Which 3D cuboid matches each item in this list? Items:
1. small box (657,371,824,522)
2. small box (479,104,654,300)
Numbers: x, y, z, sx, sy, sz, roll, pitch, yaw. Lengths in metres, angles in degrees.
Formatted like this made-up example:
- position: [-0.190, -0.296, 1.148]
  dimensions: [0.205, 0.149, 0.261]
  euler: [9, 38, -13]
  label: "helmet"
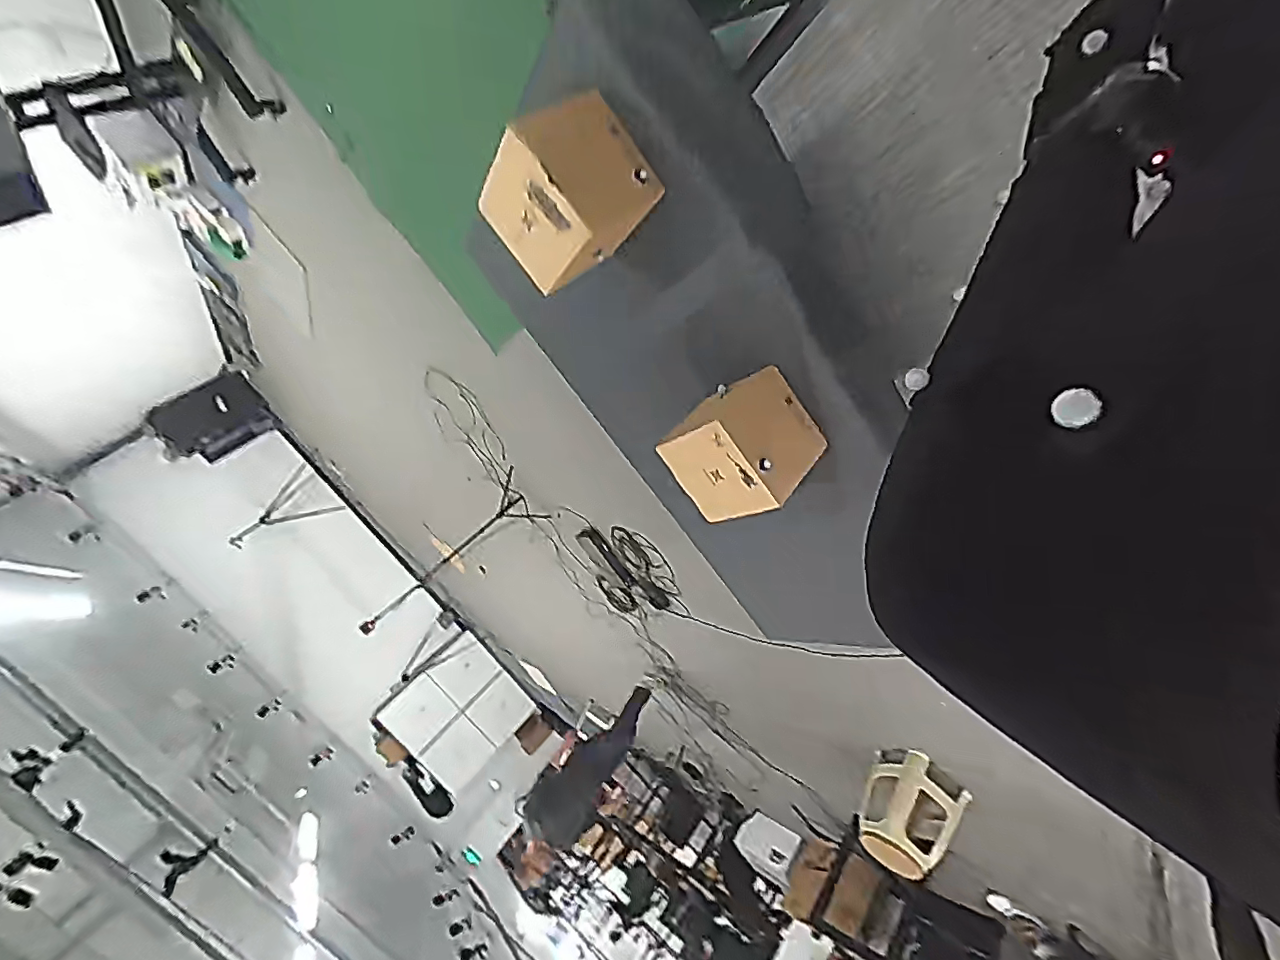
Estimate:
- position: [0.169, -0.052, 0.904]
  dimensions: [0.168, 0.176, 0.179]
  euler: [52, 150, -11]
  label: "small box"
- position: [-0.103, -0.410, 0.804]
  dimensions: [0.168, 0.176, 0.179]
  euler: [52, 150, -11]
  label: "small box"
